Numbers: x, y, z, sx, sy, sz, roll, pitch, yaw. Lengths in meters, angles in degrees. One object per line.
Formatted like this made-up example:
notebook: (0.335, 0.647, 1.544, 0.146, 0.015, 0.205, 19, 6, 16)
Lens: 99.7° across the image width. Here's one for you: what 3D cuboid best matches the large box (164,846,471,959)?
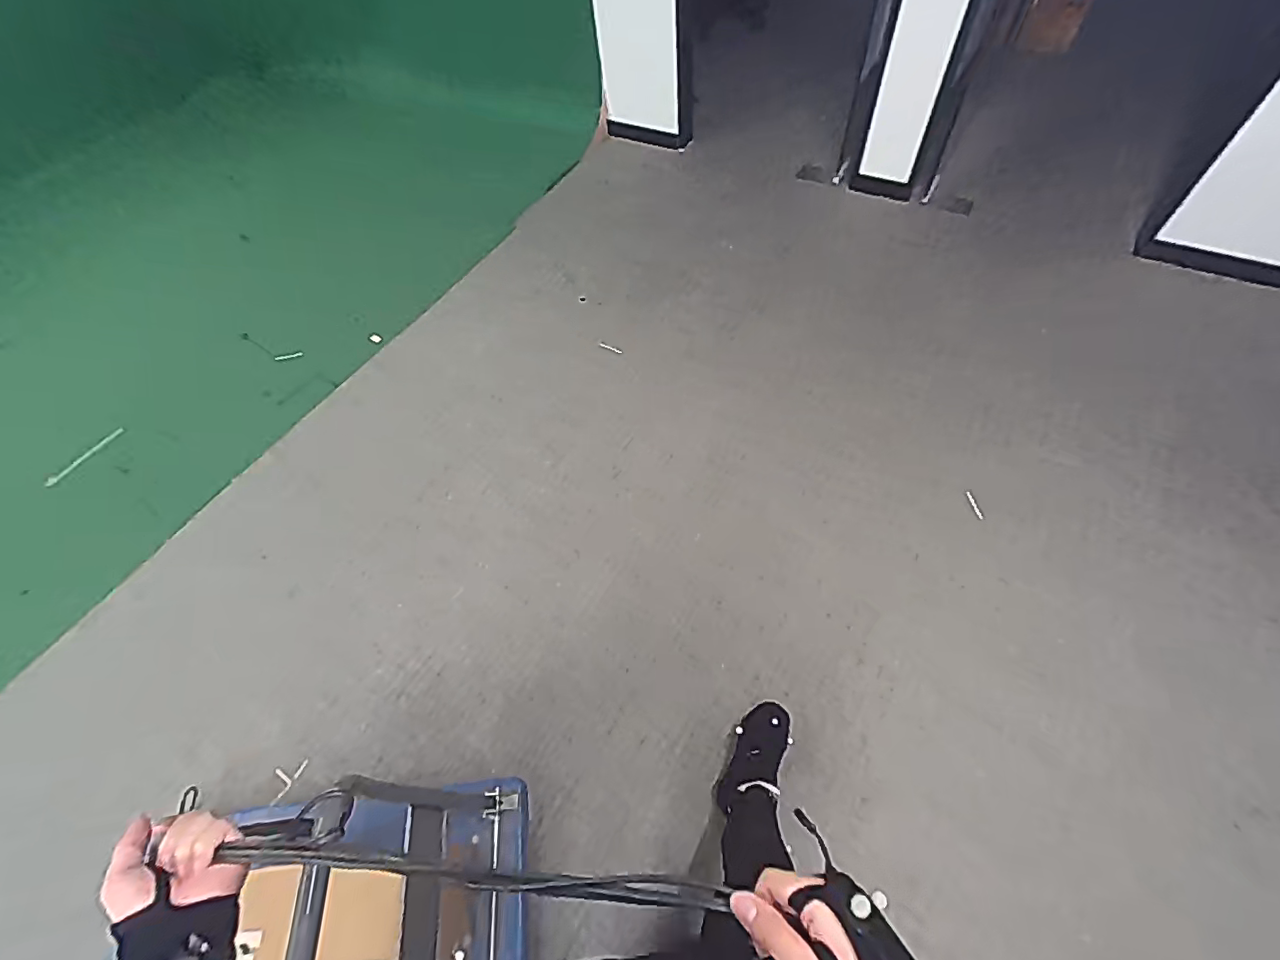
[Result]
large box: (-0.551, 0.870, 0.966, 0.408, 0.320, 0.320, -8, 56, 1)
